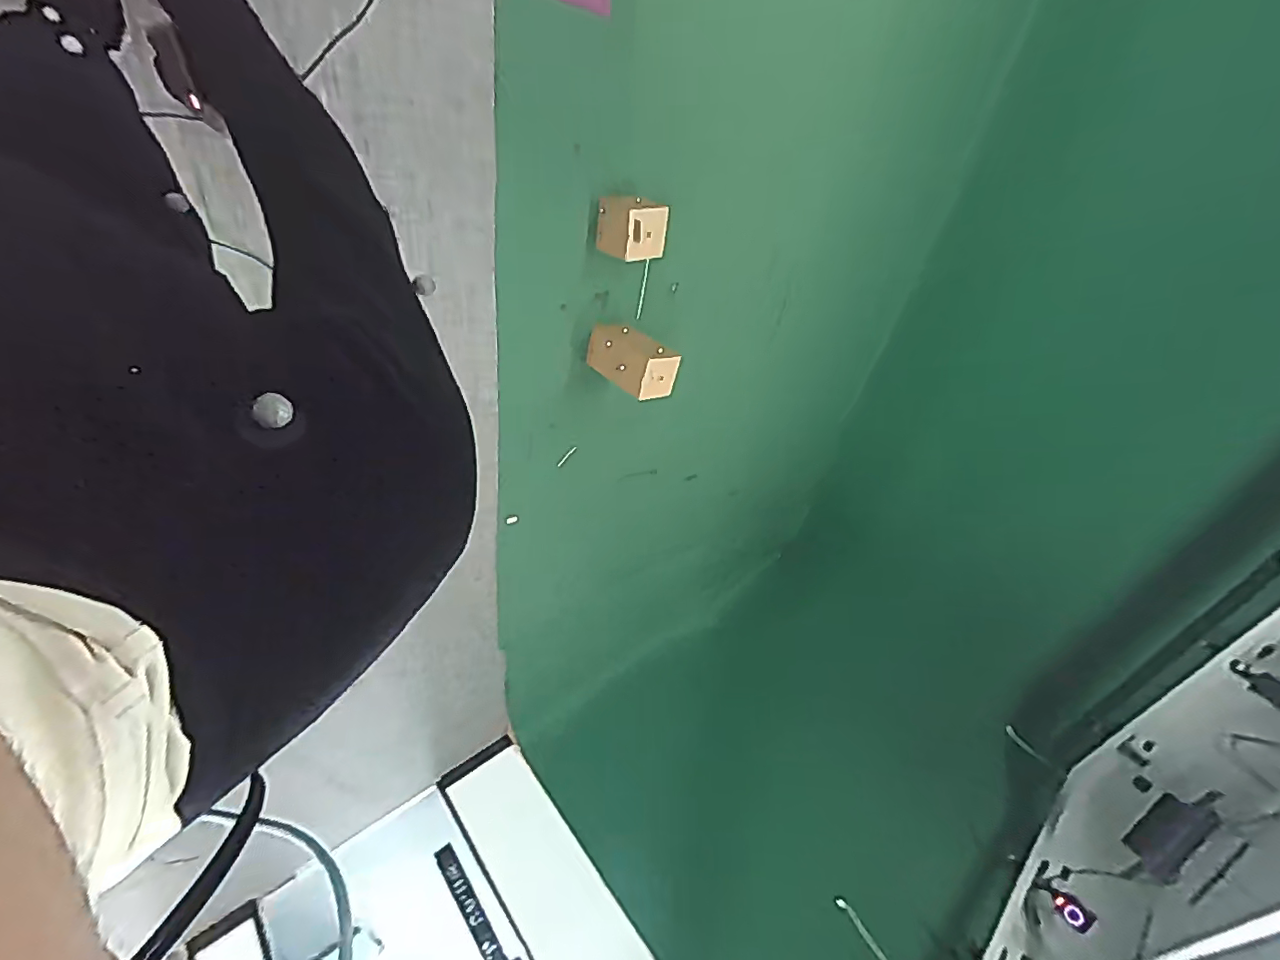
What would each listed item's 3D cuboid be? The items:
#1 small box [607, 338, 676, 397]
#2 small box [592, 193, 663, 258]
[{"bbox_3d":[0.001,-0.437,2.071,0.179,0.176,0.168,-16,134,-41],"label":"small box"},{"bbox_3d":[-0.048,-0.885,1.874,0.179,0.176,0.168,-24,139,-35],"label":"small box"}]
